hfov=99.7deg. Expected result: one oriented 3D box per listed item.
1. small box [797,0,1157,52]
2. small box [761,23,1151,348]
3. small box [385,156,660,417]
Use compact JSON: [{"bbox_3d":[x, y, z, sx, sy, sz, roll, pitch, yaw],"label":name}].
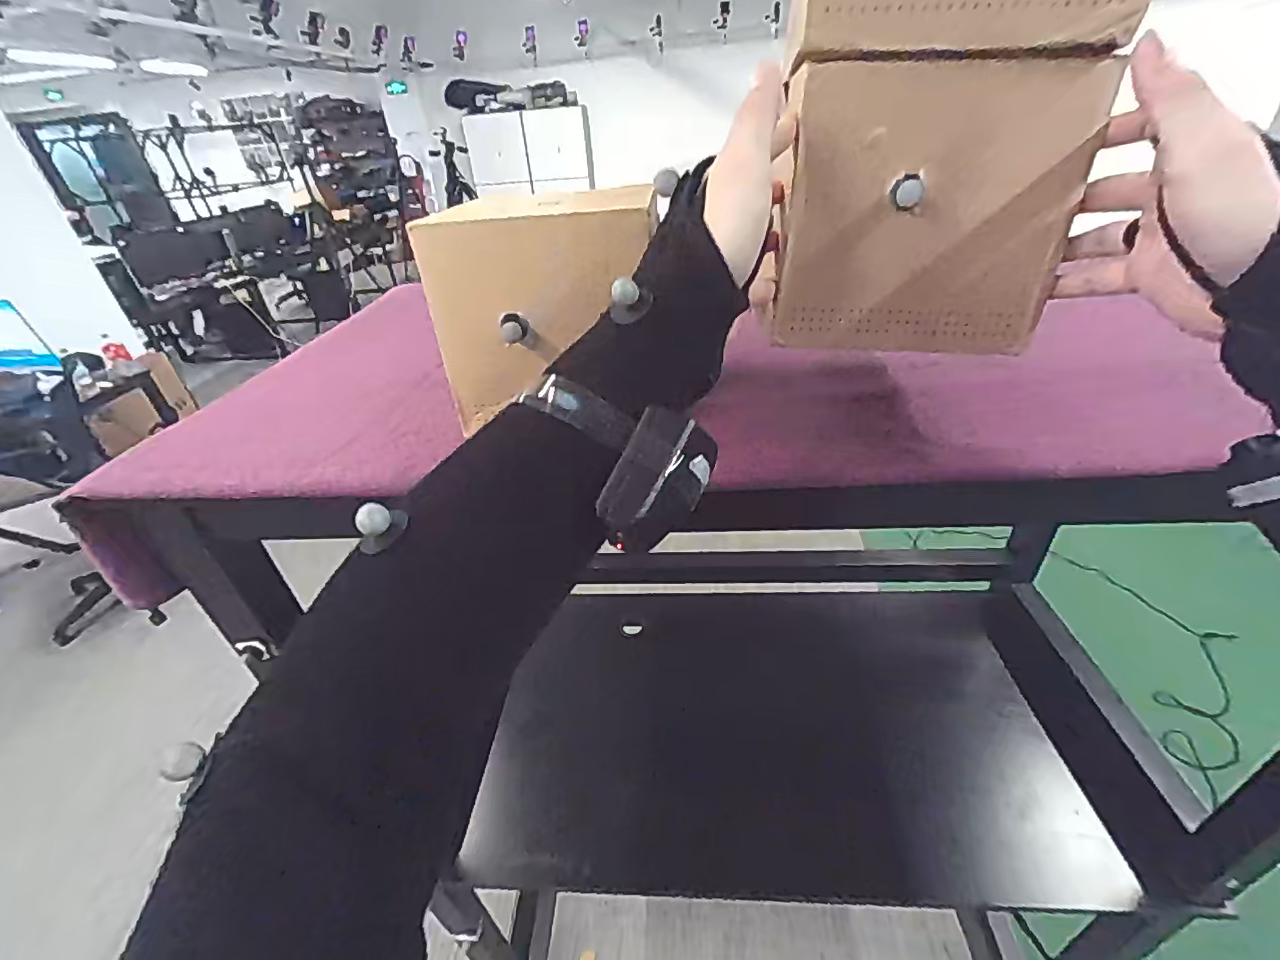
[{"bbox_3d":[0.188,-0.338,0.304,0.179,0.176,0.168,8,30,9],"label":"small box"},{"bbox_3d":[0.184,-0.197,0.387,0.179,0.176,0.168,5,29,6],"label":"small box"},{"bbox_3d":[-0.070,-0.159,0.447,0.168,0.176,0.179,-1,33,5],"label":"small box"}]
